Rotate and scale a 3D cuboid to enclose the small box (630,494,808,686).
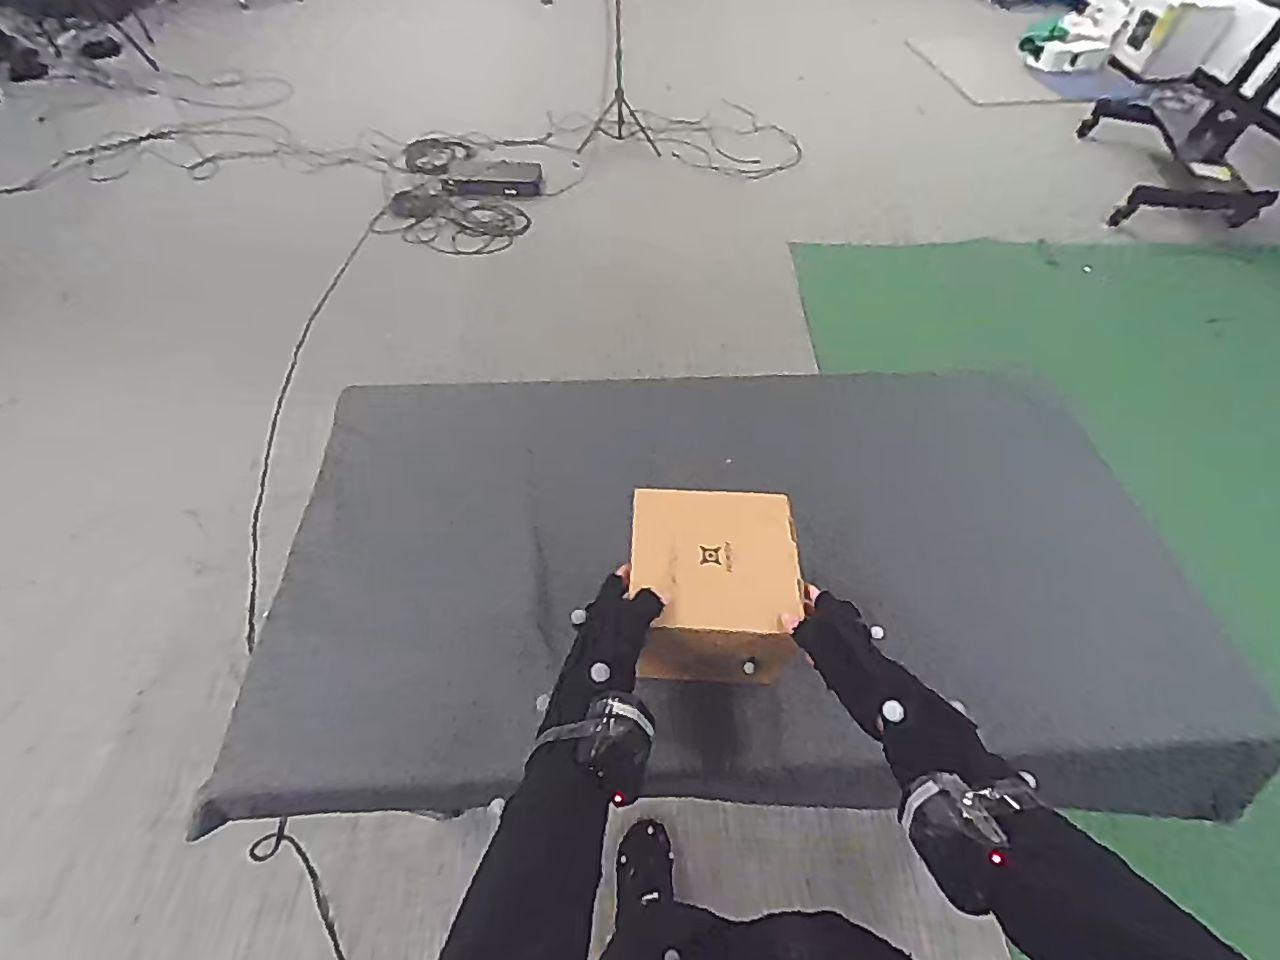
[{"bbox_3d":[0.080,0.133,0.635,0.179,0.176,0.168,1,53,2],"label":"small box"}]
